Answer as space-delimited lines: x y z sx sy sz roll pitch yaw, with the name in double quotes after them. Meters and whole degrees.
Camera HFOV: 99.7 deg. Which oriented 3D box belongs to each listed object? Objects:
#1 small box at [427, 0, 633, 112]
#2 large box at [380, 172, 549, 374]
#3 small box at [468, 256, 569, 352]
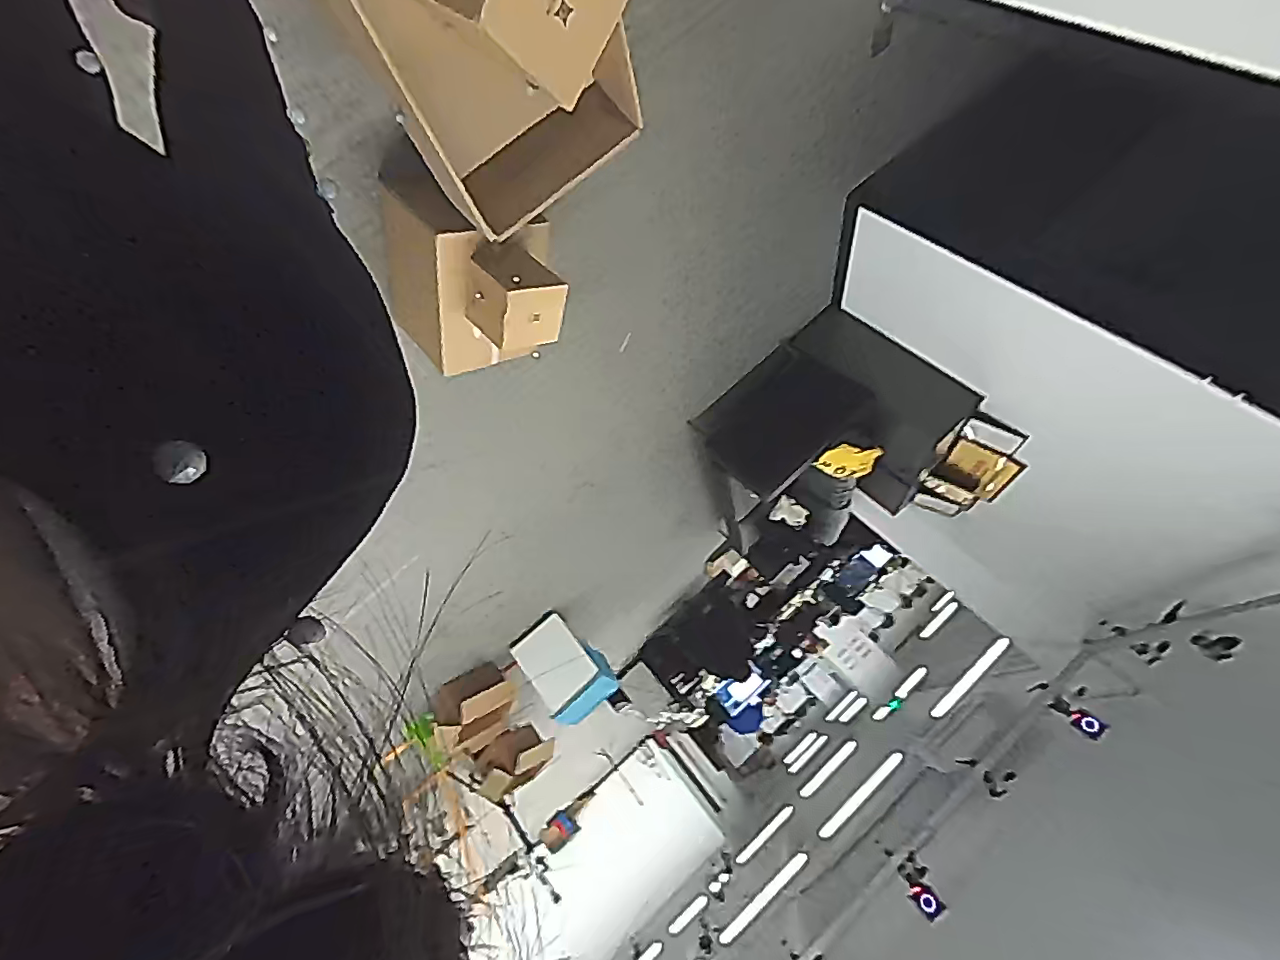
-0.147 -0.634 0.700 0.168 0.176 0.179 -54 152 18 "small box"
-0.481 -0.575 1.496 0.320 0.320 0.408 -25 150 -34 "large box"
-0.310 -0.450 1.367 0.179 0.176 0.168 -24 148 -38 "small box"
